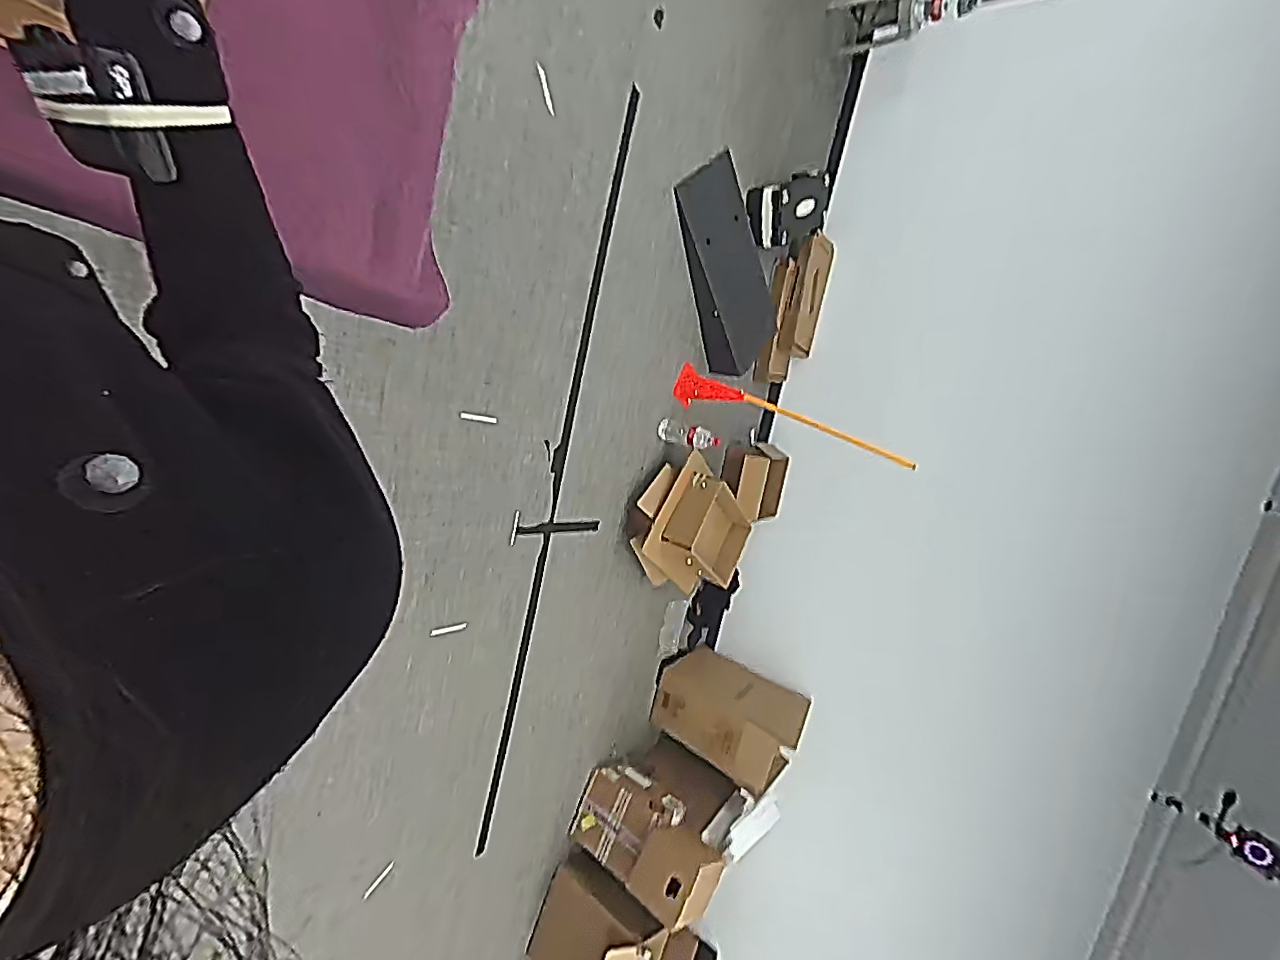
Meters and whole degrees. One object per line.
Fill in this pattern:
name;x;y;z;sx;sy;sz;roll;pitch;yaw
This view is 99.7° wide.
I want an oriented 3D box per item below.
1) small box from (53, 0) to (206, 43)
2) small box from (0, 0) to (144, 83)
small box;-0.362;-0.409;0.317;0.168;0.176;0.179;6;100;-55
small box;-0.493;-0.445;0.409;0.168;0.176;0.179;4;101;-55
